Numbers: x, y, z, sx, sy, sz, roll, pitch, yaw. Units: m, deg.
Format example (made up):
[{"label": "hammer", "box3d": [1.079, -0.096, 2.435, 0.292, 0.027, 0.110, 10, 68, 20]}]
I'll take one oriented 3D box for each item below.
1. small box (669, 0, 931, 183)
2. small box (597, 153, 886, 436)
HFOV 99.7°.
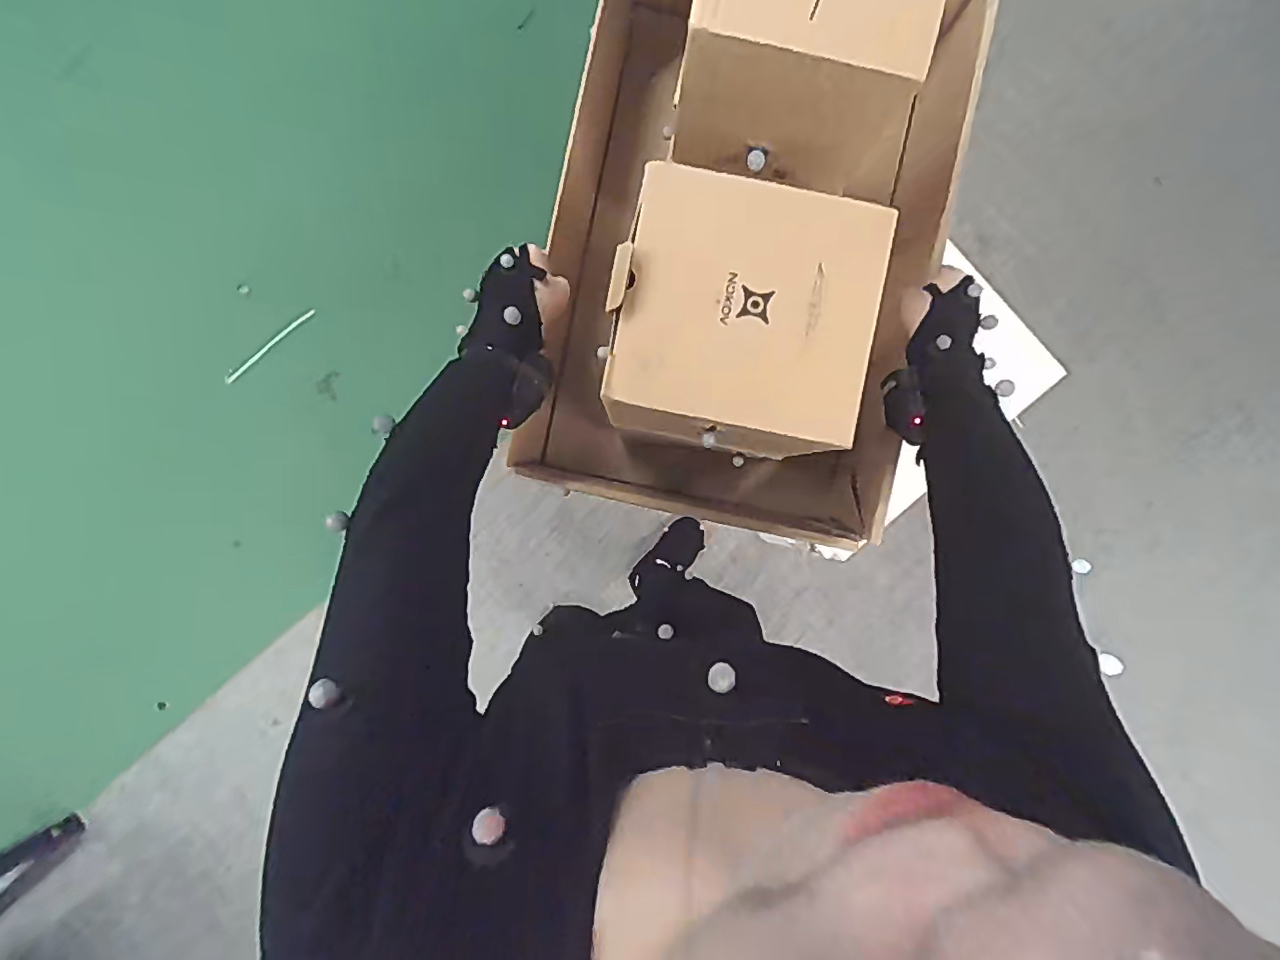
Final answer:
[{"label": "small box", "box3d": [0.122, -0.380, 0.437, 0.168, 0.176, 0.179, 12, 94, -1]}, {"label": "small box", "box3d": [0.068, -0.131, 0.450, 0.179, 0.176, 0.168, 10, 92, -2]}]
